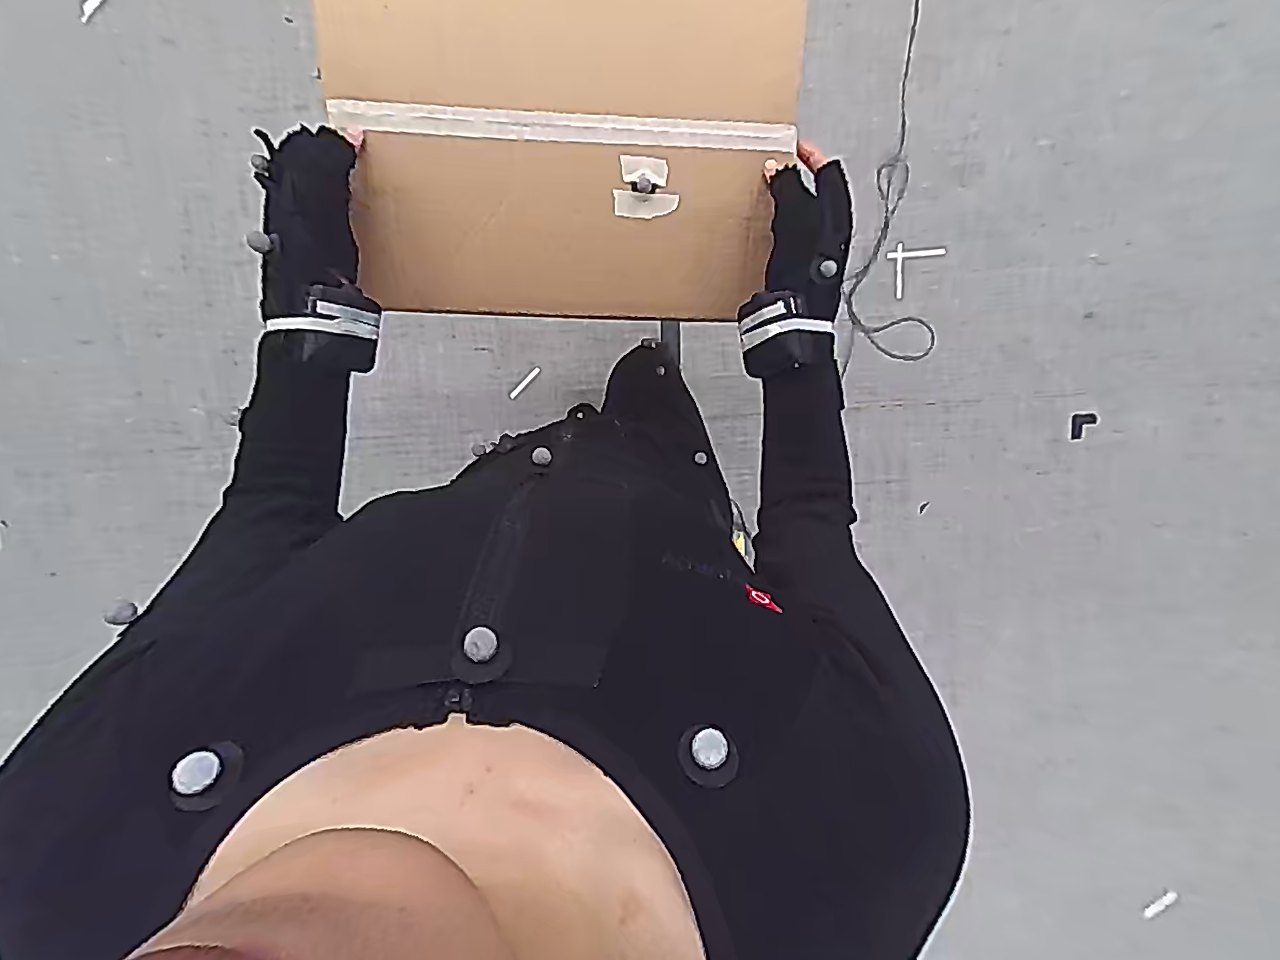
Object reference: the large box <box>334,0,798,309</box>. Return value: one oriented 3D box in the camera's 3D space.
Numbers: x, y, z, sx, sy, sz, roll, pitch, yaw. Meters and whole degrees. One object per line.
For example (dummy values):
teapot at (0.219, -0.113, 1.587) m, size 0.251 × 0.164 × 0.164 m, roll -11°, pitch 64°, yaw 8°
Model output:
large box at (-0.073, -0.366, 0.630) m, size 0.408 × 0.320 × 0.320 m, roll 0°, pitch 107°, yaw -5°
